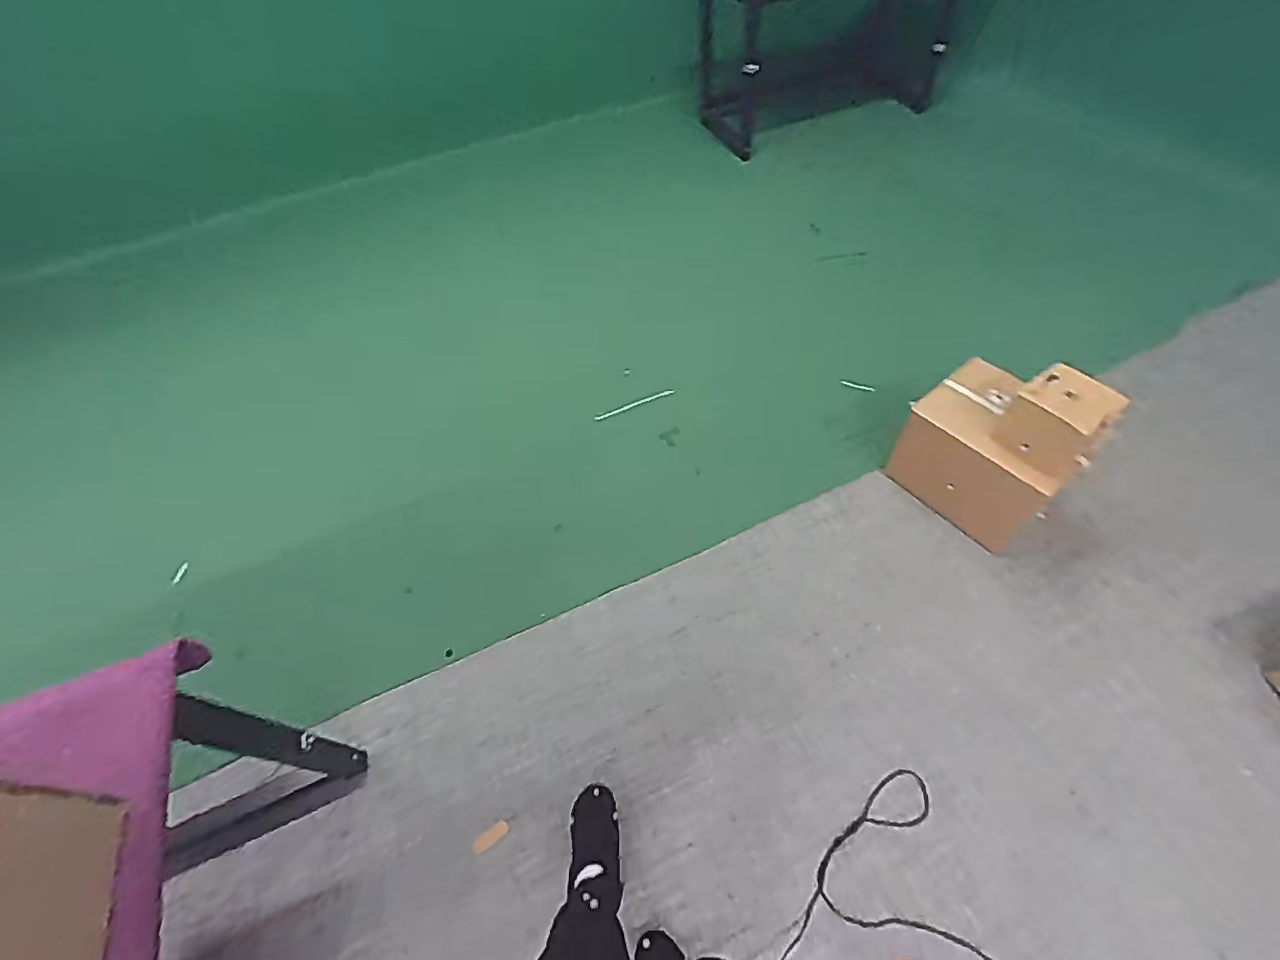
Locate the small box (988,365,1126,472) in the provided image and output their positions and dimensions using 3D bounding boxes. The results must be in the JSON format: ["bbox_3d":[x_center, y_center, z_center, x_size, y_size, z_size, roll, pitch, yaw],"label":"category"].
[{"bbox_3d":[1.020,-0.143,1.339,0.168,0.176,0.179,-31,57,-15],"label":"small box"}]

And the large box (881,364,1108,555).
[{"bbox_3d":[1.005,-0.061,1.586,0.320,0.320,0.408,-34,57,-18],"label":"large box"}]
